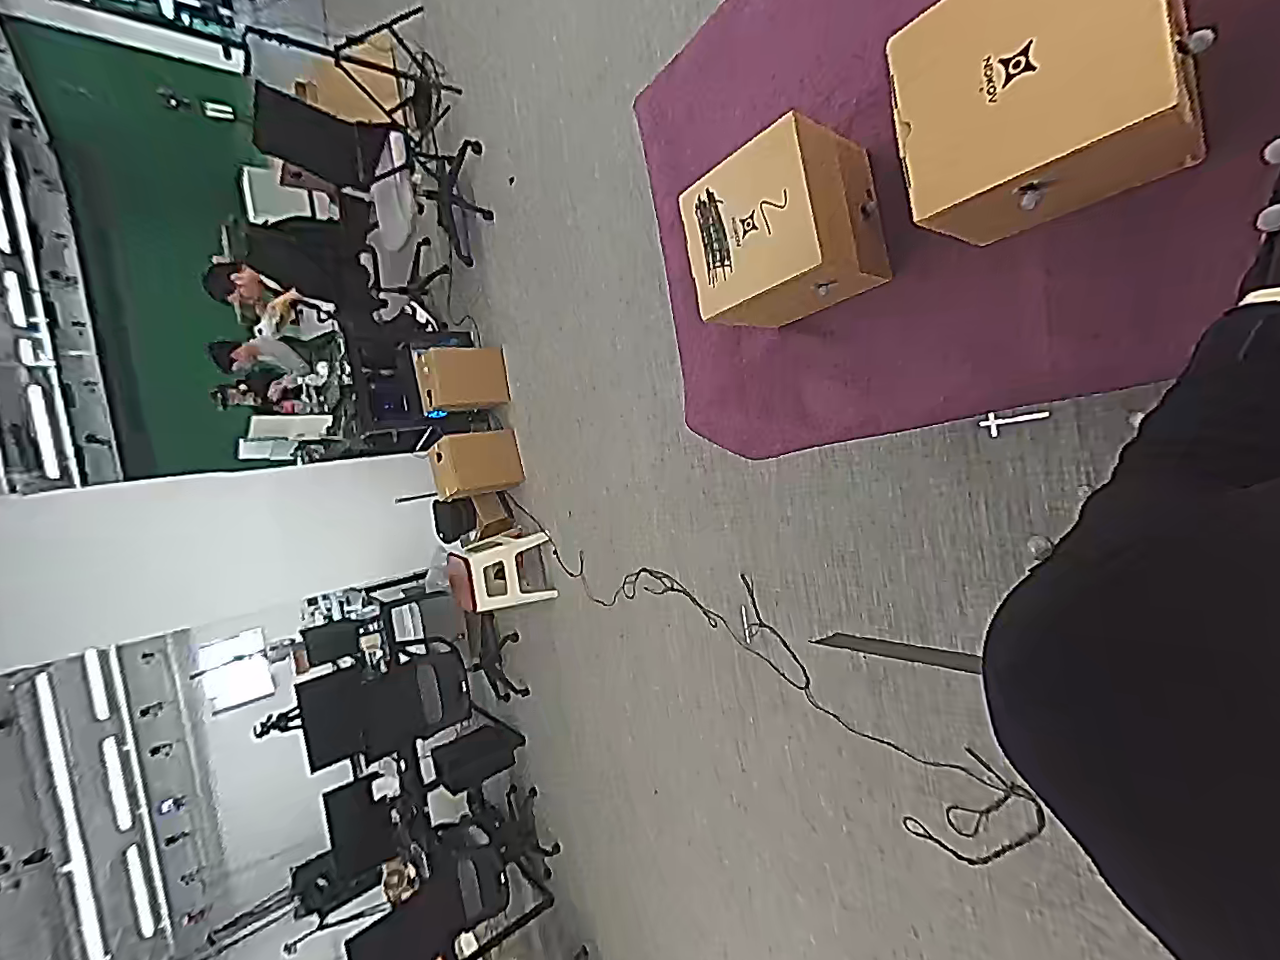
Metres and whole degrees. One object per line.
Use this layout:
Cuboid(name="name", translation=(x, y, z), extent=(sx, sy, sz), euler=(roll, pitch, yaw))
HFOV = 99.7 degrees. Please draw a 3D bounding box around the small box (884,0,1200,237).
Cuboid(name="small box", translation=(0.346, -0.331, 0.466), extent=(0.179, 0.176, 0.168), euler=(-8, 92, 53))
